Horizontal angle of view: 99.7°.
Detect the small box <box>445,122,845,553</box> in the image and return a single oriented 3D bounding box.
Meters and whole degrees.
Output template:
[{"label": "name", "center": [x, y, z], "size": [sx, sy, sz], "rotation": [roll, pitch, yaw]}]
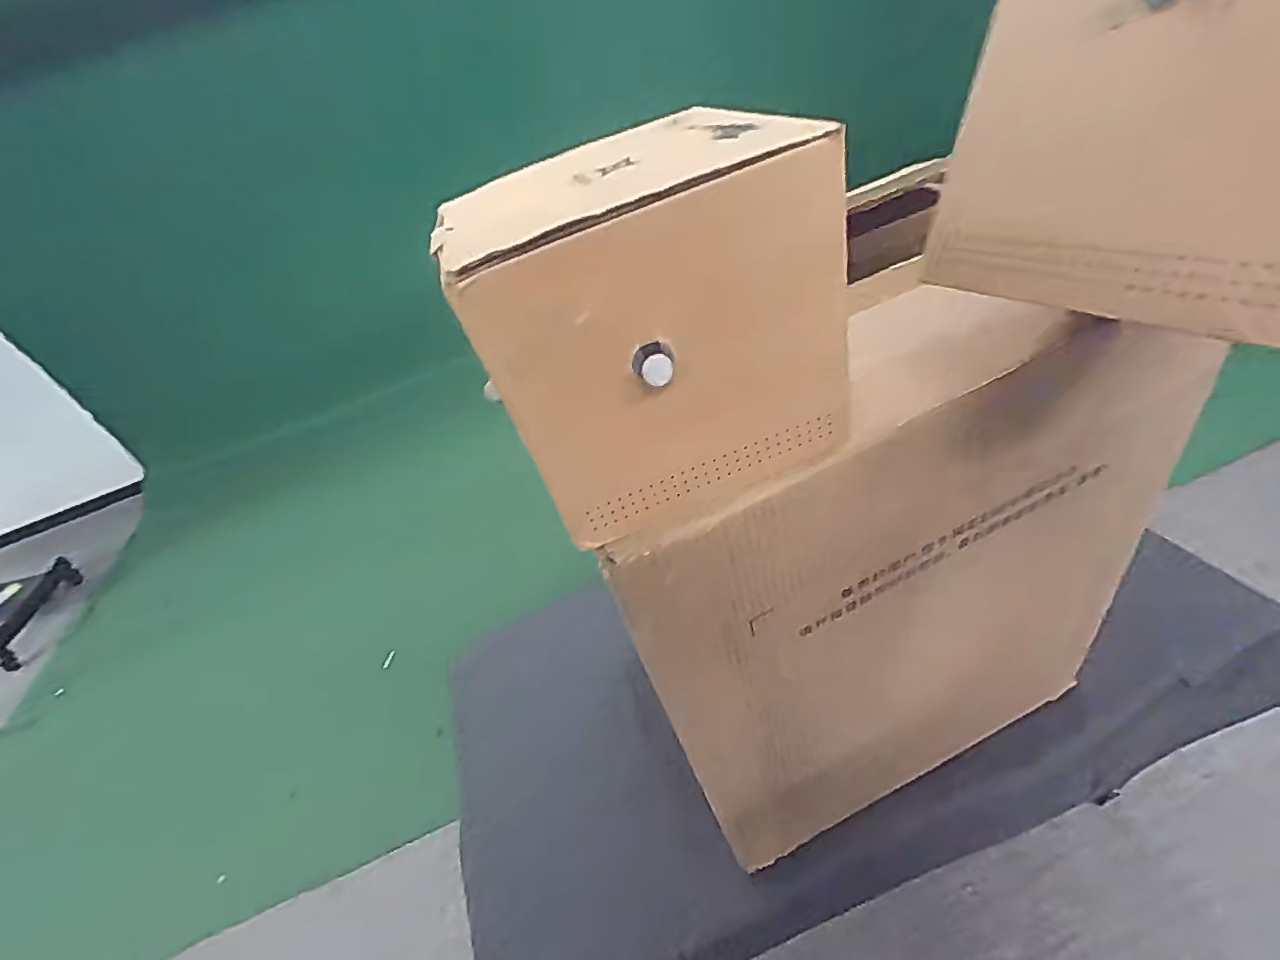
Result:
[{"label": "small box", "center": [0.005, -0.085, 0.324], "size": [0.179, 0.176, 0.168], "rotation": [-23, 41, -3]}]
